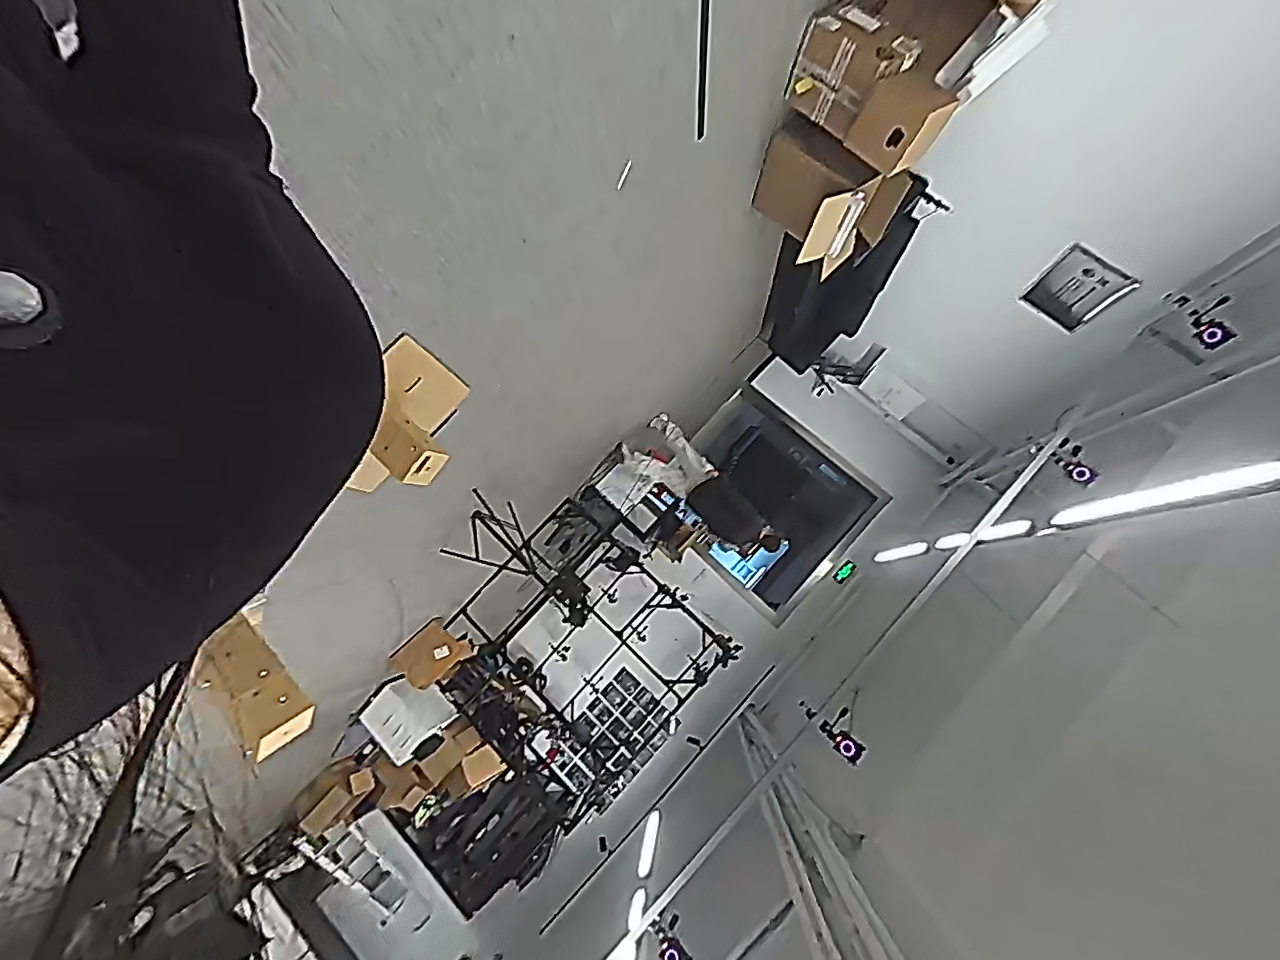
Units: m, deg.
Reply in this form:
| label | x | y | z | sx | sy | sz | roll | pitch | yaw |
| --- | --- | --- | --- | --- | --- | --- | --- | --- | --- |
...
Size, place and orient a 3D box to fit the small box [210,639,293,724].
| label | x | y | z | sx | sy | sz | roll | pitch | yaw |
| --- | --- | --- | --- | --- | --- | --- | --- | --- | --- |
| small box | -1.303 | 0.668 | 1.811 | 0.168 | 0.176 | 0.179 | -31 | 159 | -53 |

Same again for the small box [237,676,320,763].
| label | x | y | z | sx | sy | sz | roll | pitch | yaw |
| --- | --- | --- | --- | --- | --- | --- | --- | --- | --- |
| small box | -1.186 | 0.773 | 1.770 | 0.168 | 0.176 | 0.179 | -31 | 159 | -53 |

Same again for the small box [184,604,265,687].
| label | x | y | z | sx | sy | sz | roll | pitch | yaw |
| --- | --- | --- | --- | --- | --- | --- | --- | --- | --- |
| small box | -1.421 | 0.559 | 1.846 | 0.168 | 0.176 | 0.179 | -31 | 158 | -53 |

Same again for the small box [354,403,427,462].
| label | x | y | z | sx | sy | sz | roll | pitch | yaw |
| --- | --- | --- | --- | --- | --- | --- | --- | --- | --- |
| small box | -1.033 | -0.197 | 2.243 | 0.168 | 0.176 | 0.179 | -51 | 167 | 3 |
